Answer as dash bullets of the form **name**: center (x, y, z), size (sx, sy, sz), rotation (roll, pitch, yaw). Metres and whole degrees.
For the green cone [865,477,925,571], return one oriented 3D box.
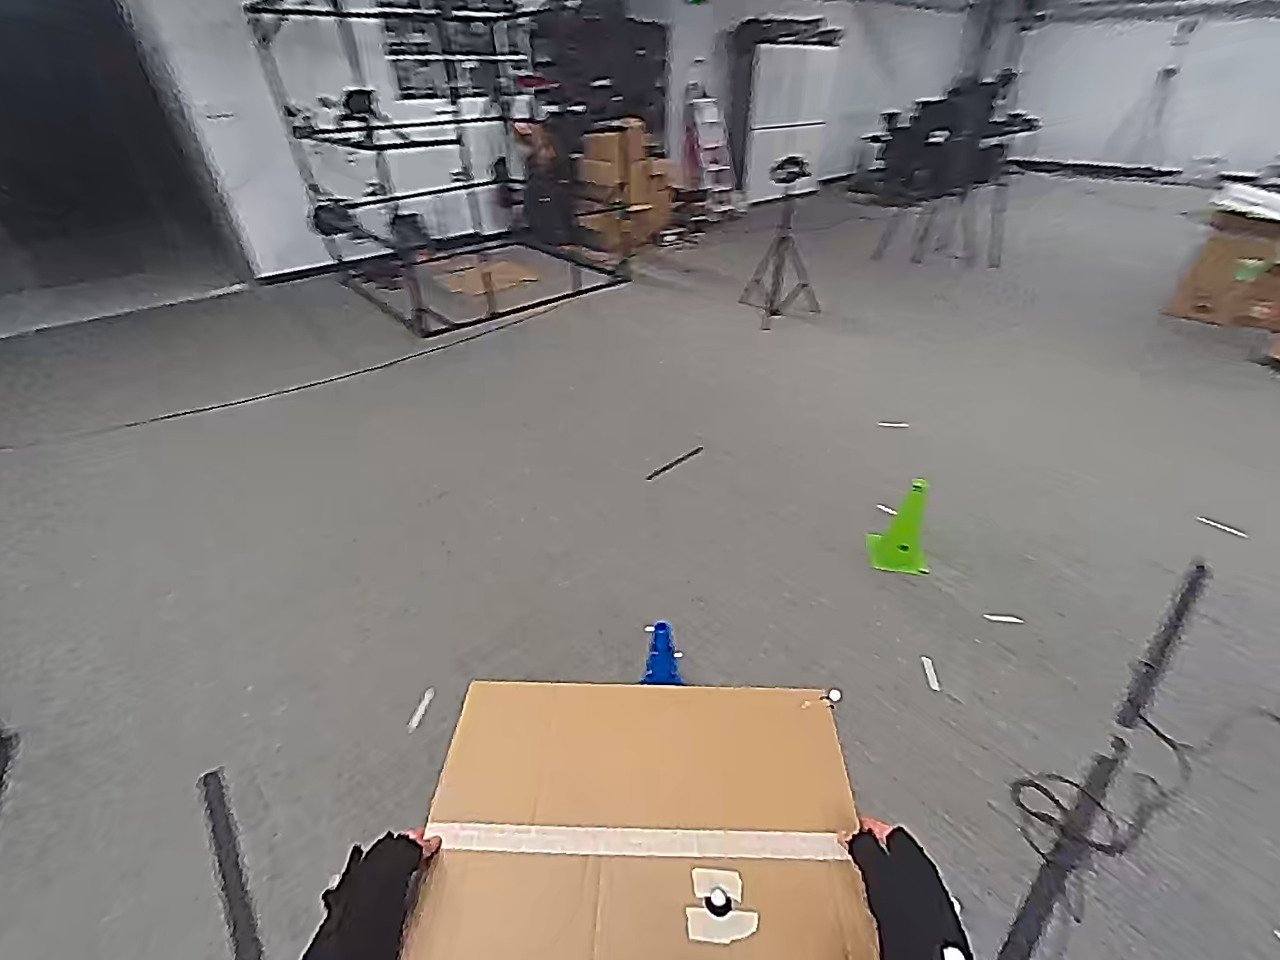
- **green cone**: center (0.993, 0.143, 2.032), size (0.202, 0.368, 0.200), rotation (5, 36, 11)

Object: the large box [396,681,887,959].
- **large box**: center (0.005, 0.449, 0.593), size (0.408, 0.320, 0.320), rotation (2, 39, 3)
